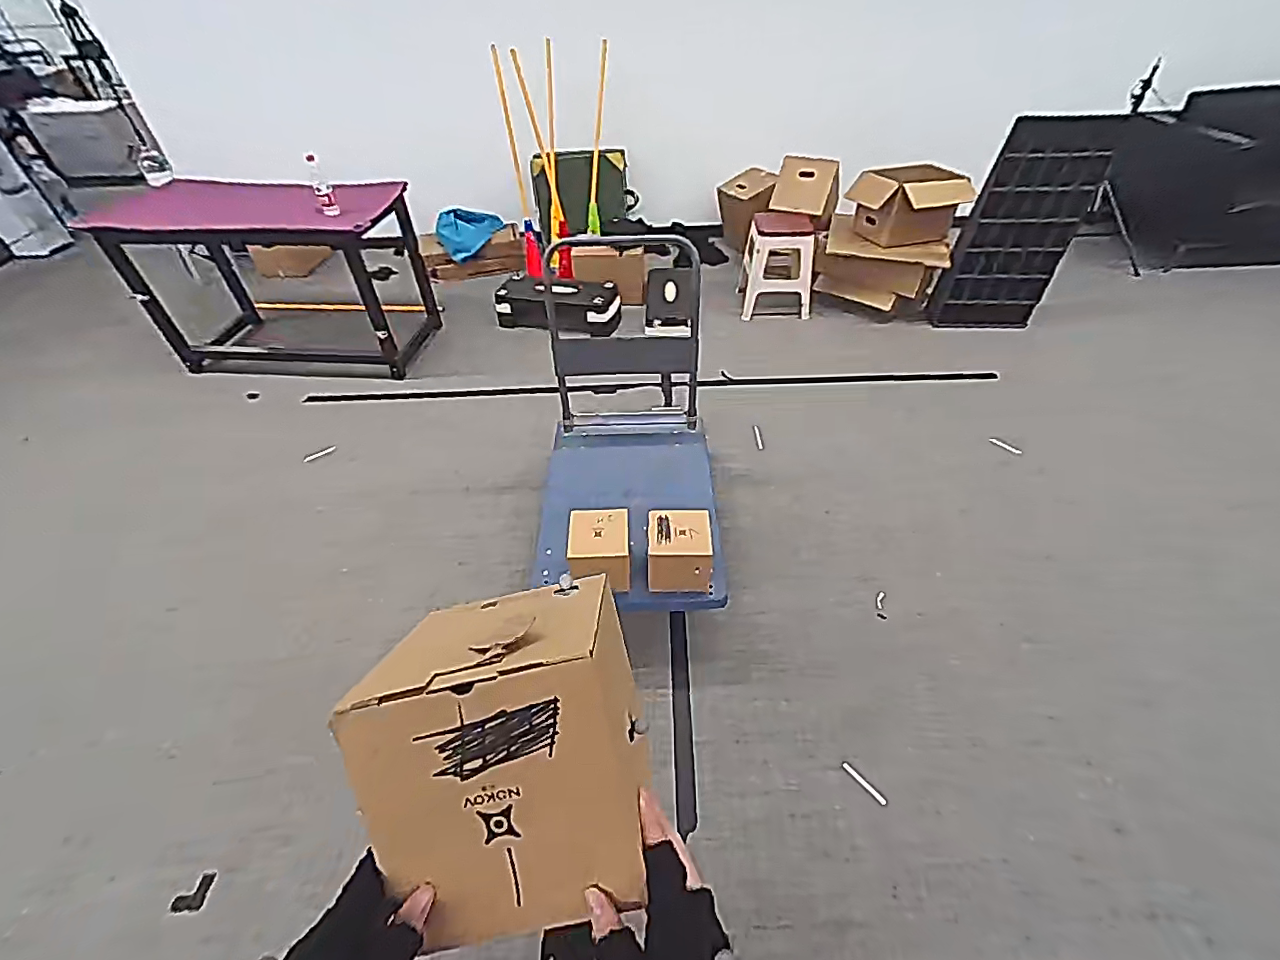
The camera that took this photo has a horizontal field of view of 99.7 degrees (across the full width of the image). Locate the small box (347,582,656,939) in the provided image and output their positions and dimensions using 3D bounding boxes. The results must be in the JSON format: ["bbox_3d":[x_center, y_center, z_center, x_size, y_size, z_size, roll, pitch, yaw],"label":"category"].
[{"bbox_3d":[-0.087,0.191,0.423,0.168,0.179,0.176,-12,7,1],"label":"small box"}]

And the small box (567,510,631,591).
[{"bbox_3d":[-0.112,0.206,1.559,0.168,0.176,0.179,-2,43,0],"label":"small box"}]
